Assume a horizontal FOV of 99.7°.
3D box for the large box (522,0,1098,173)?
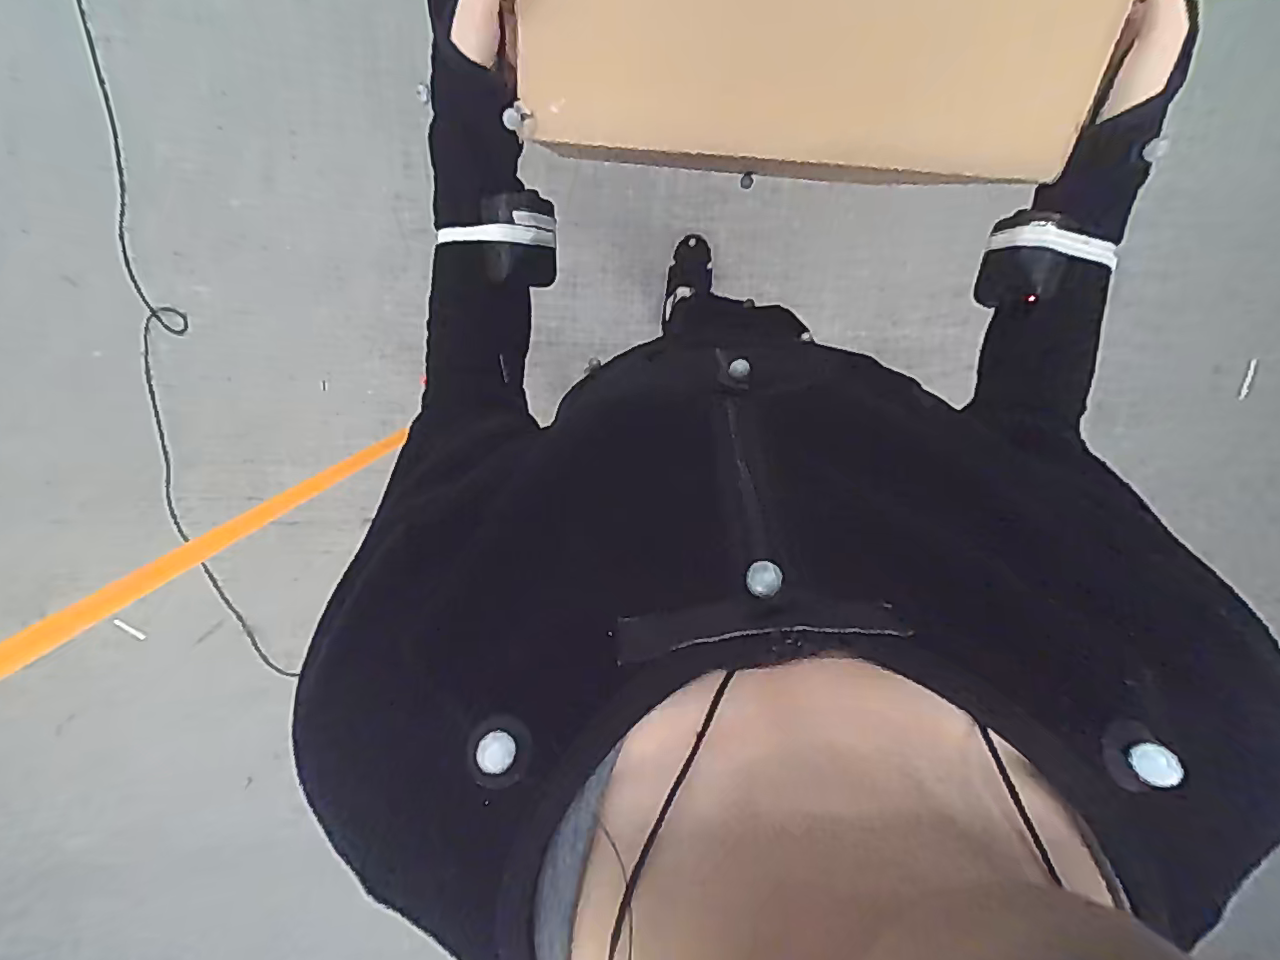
[{"bbox_3d":[0.119,-0.451,0.468,0.408,0.320,0.320,2,118,-3],"label":"large box"}]
